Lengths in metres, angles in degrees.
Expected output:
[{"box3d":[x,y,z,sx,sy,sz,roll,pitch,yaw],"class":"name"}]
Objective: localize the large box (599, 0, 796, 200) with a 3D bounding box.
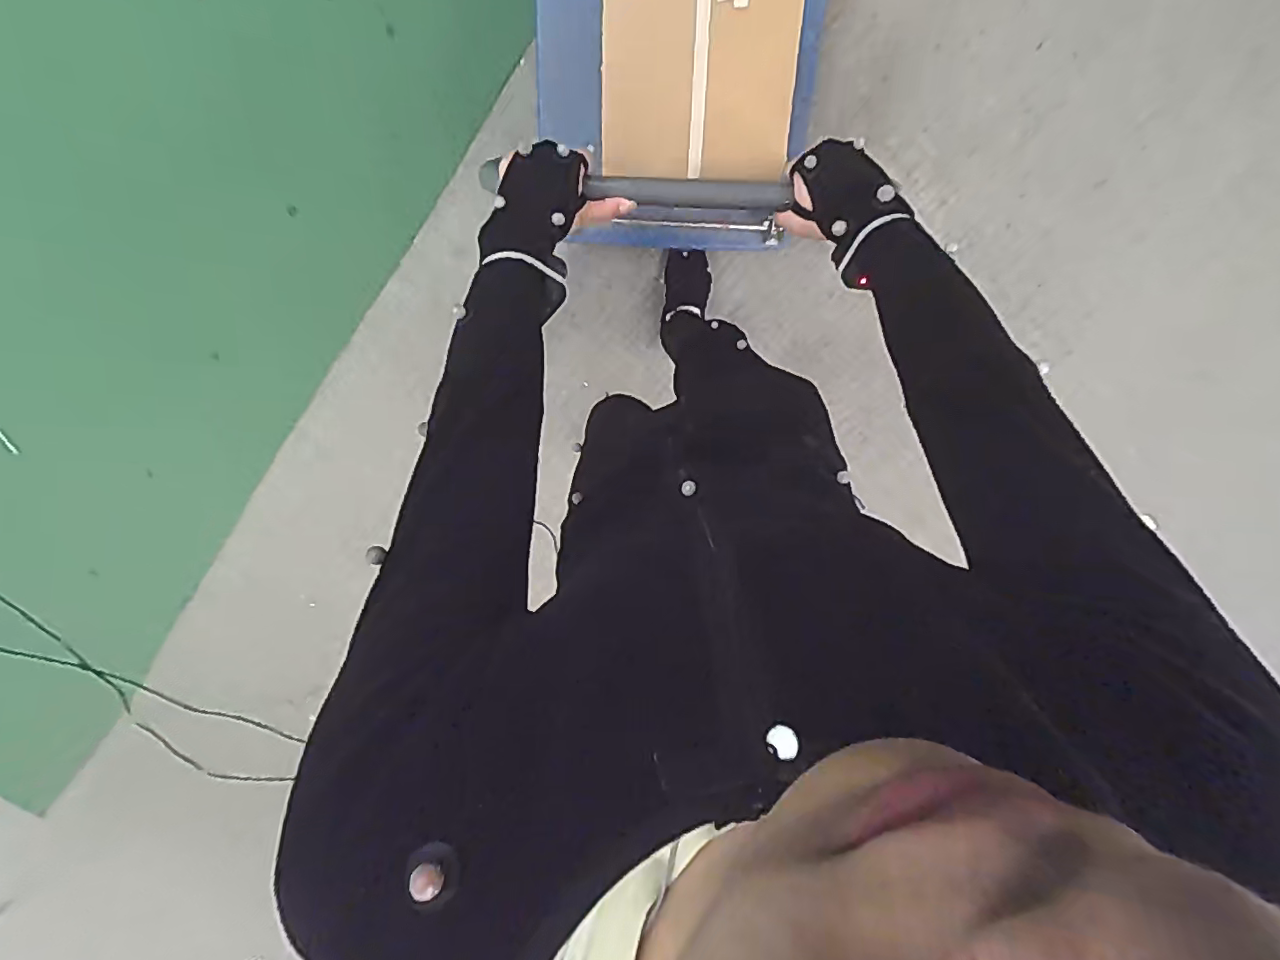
[{"box3d":[0.097,-0.762,1.011,0.320,0.320,0.408,2,112,1],"class":"large box"}]
